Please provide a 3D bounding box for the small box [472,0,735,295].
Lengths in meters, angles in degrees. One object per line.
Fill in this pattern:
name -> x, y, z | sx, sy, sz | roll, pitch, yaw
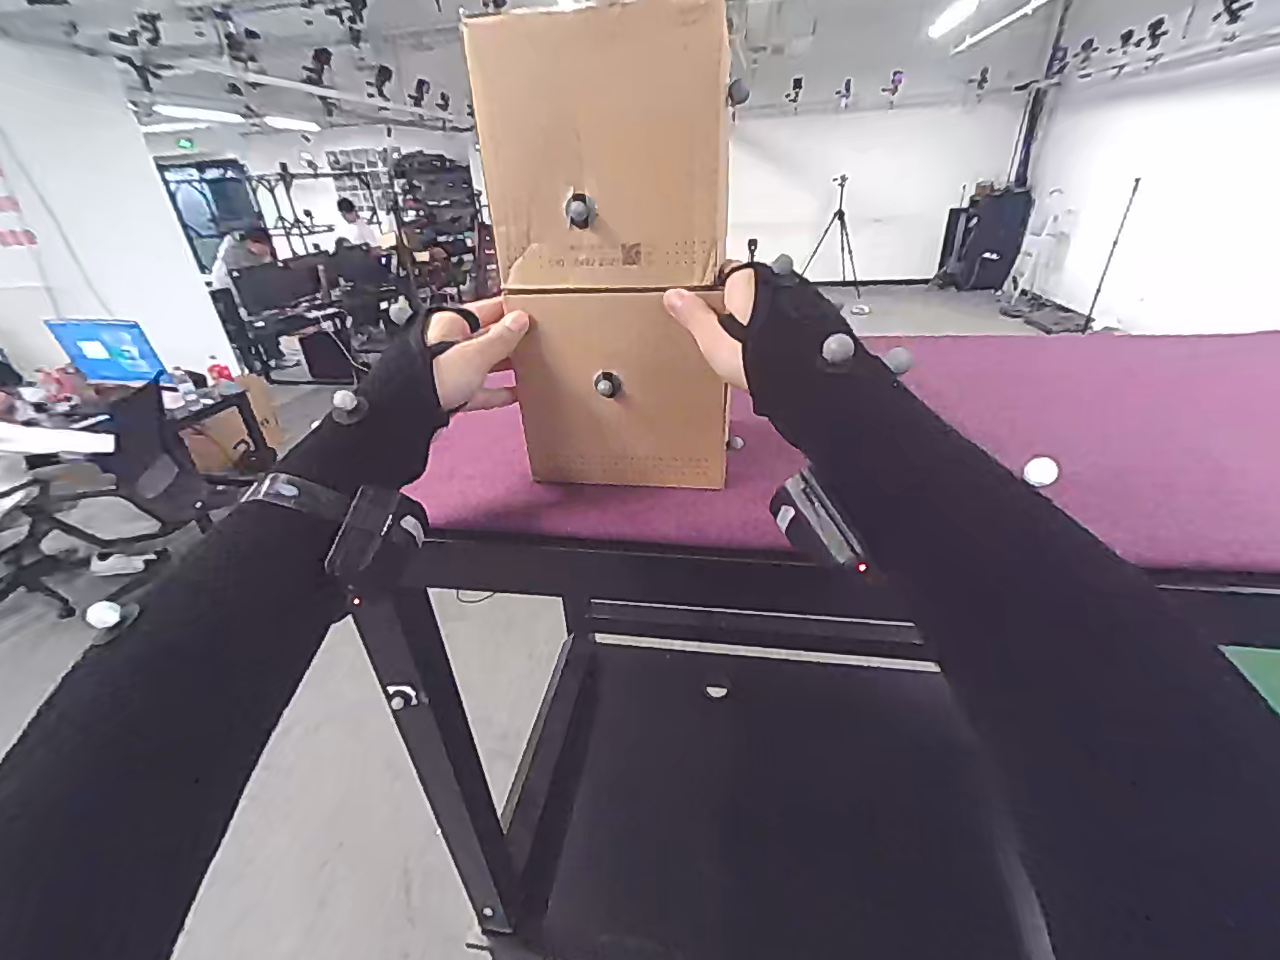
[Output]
small box -> -0.012, -0.252, 0.438 | 0.168, 0.176, 0.179 | 2, 29, 10
